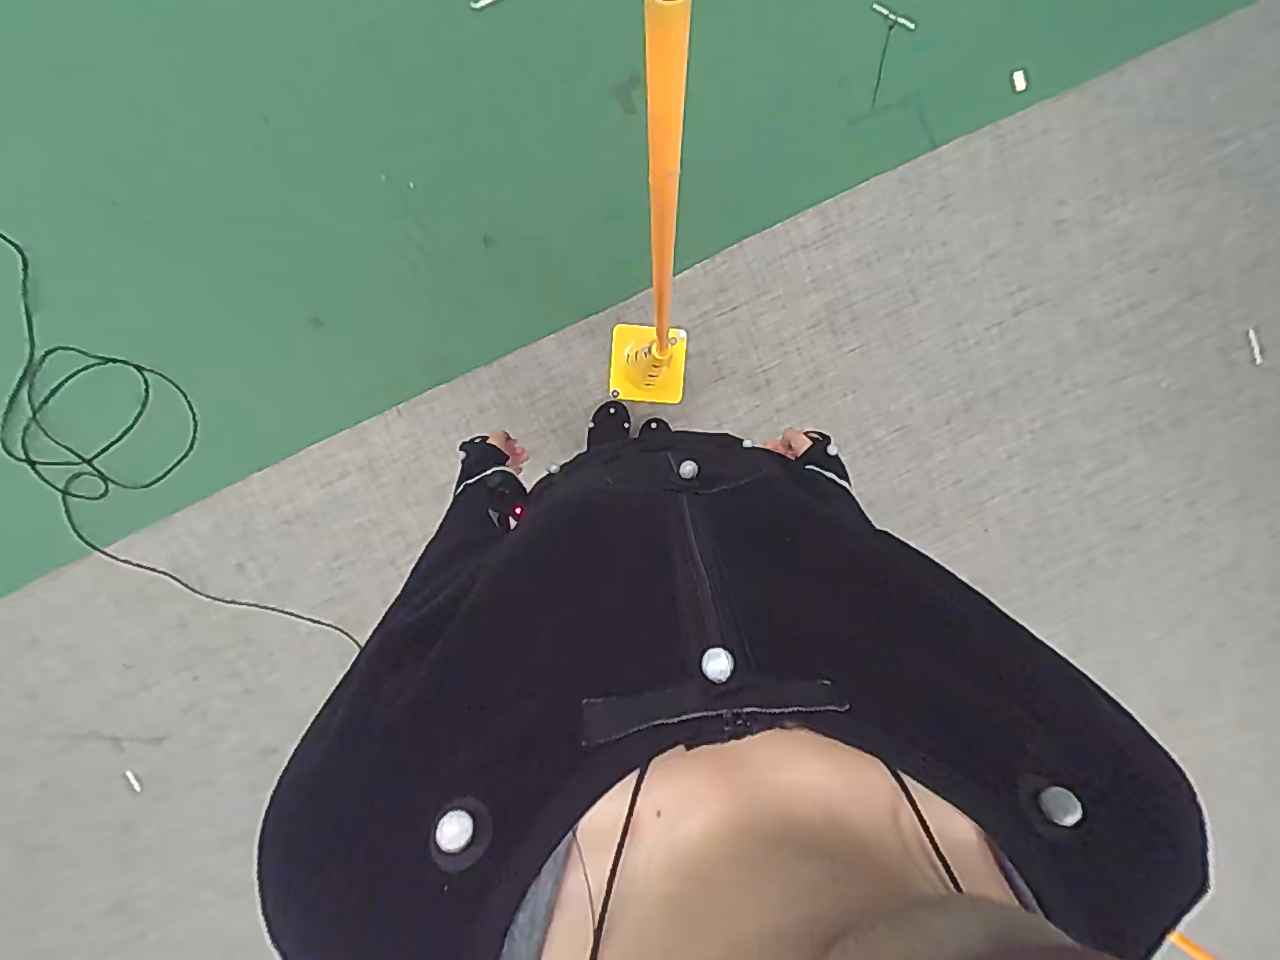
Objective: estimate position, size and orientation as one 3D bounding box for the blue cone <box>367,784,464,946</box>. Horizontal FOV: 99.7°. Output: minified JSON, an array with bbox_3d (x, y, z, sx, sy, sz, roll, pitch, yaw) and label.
[{"bbox_3d":[-0.600,1.002,1.397,0.192,0.380,0.193,19,98,-7],"label":"blue cone"}]
